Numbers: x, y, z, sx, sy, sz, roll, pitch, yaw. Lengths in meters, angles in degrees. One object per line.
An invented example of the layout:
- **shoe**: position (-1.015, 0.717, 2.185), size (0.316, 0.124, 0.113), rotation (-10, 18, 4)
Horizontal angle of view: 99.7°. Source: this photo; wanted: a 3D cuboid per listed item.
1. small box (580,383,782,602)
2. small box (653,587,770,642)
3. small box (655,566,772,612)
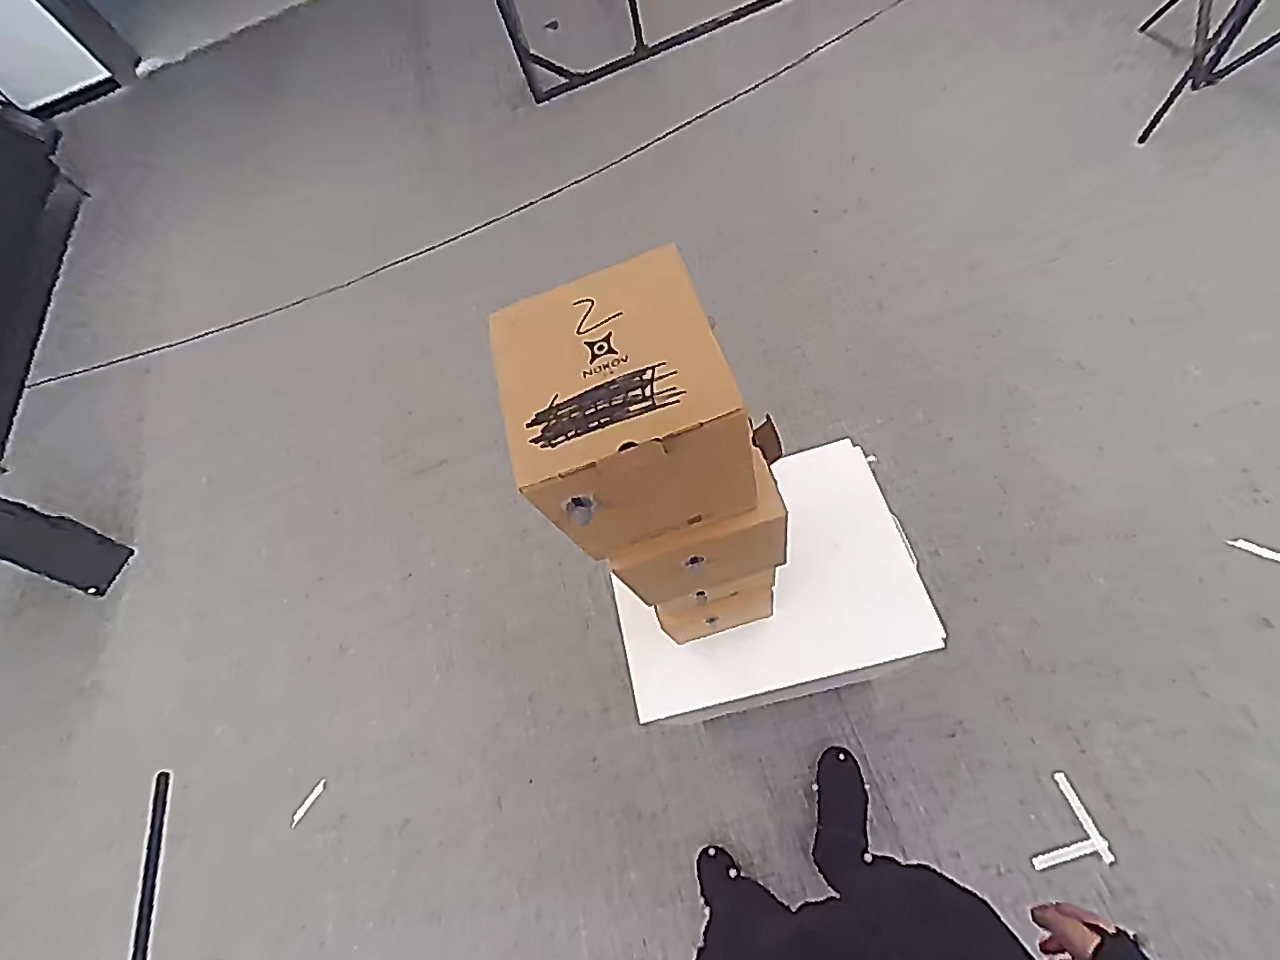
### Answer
- **small box**: position (0.052, 0.025, 0.611), size (0.179, 0.176, 0.168), rotation (-18, 63, 5)
- **small box**: position (0.109, 0.160, 0.903), size (0.179, 0.176, 0.168), rotation (-19, 63, 4)
- **small box**: position (0.082, 0.078, 0.765), size (0.168, 0.176, 0.179), rotation (-18, 62, 5)
